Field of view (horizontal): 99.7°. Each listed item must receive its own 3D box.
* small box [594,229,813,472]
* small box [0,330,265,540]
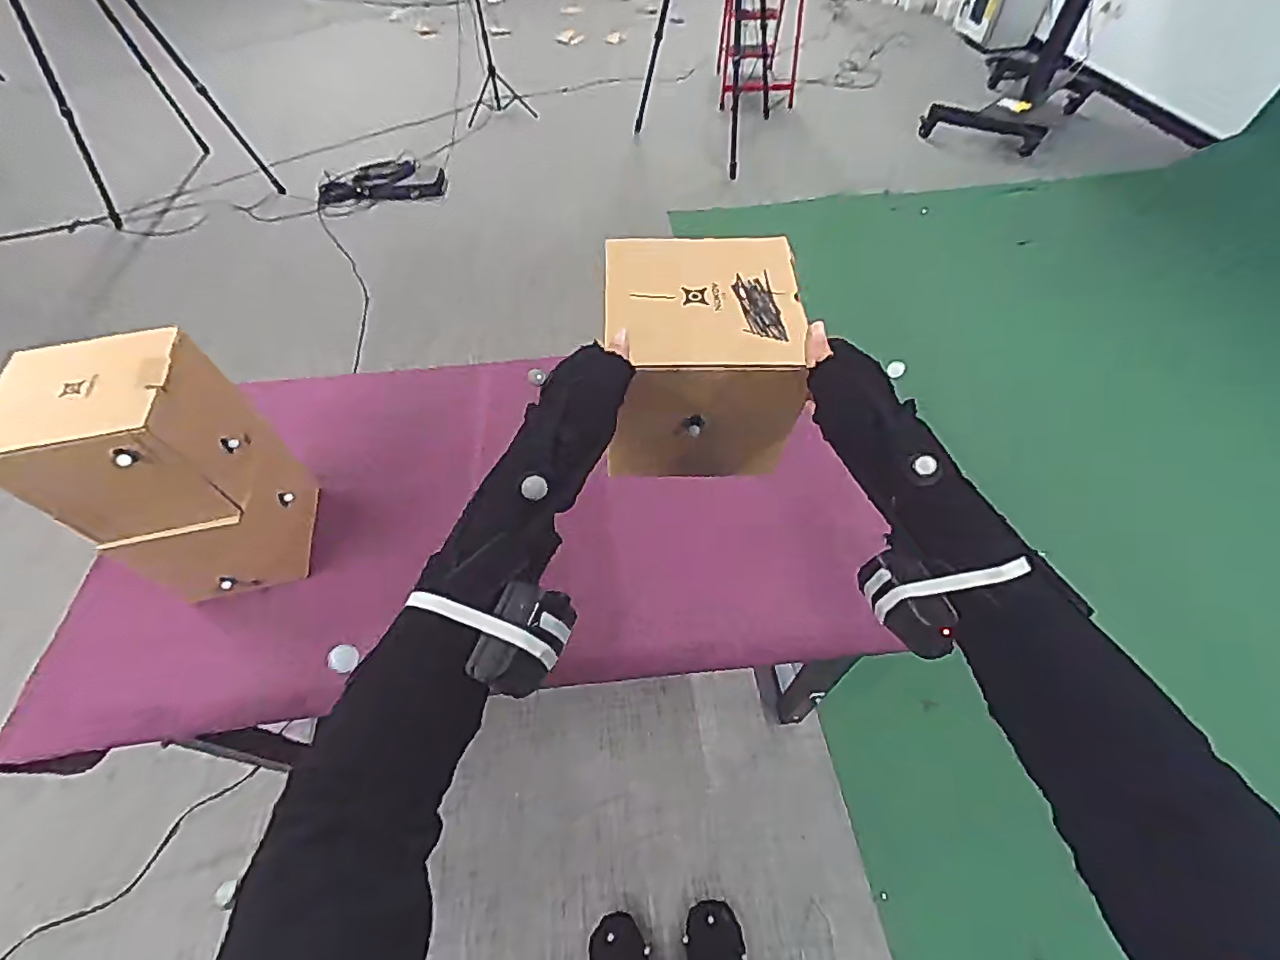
[{"bbox_3d":[0.052,-0.119,0.533,0.179,0.176,0.168,2,57,1],"label":"small box"},{"bbox_3d":[-0.600,-0.048,0.649,0.179,0.176,0.168,-13,55,-8],"label":"small box"}]
